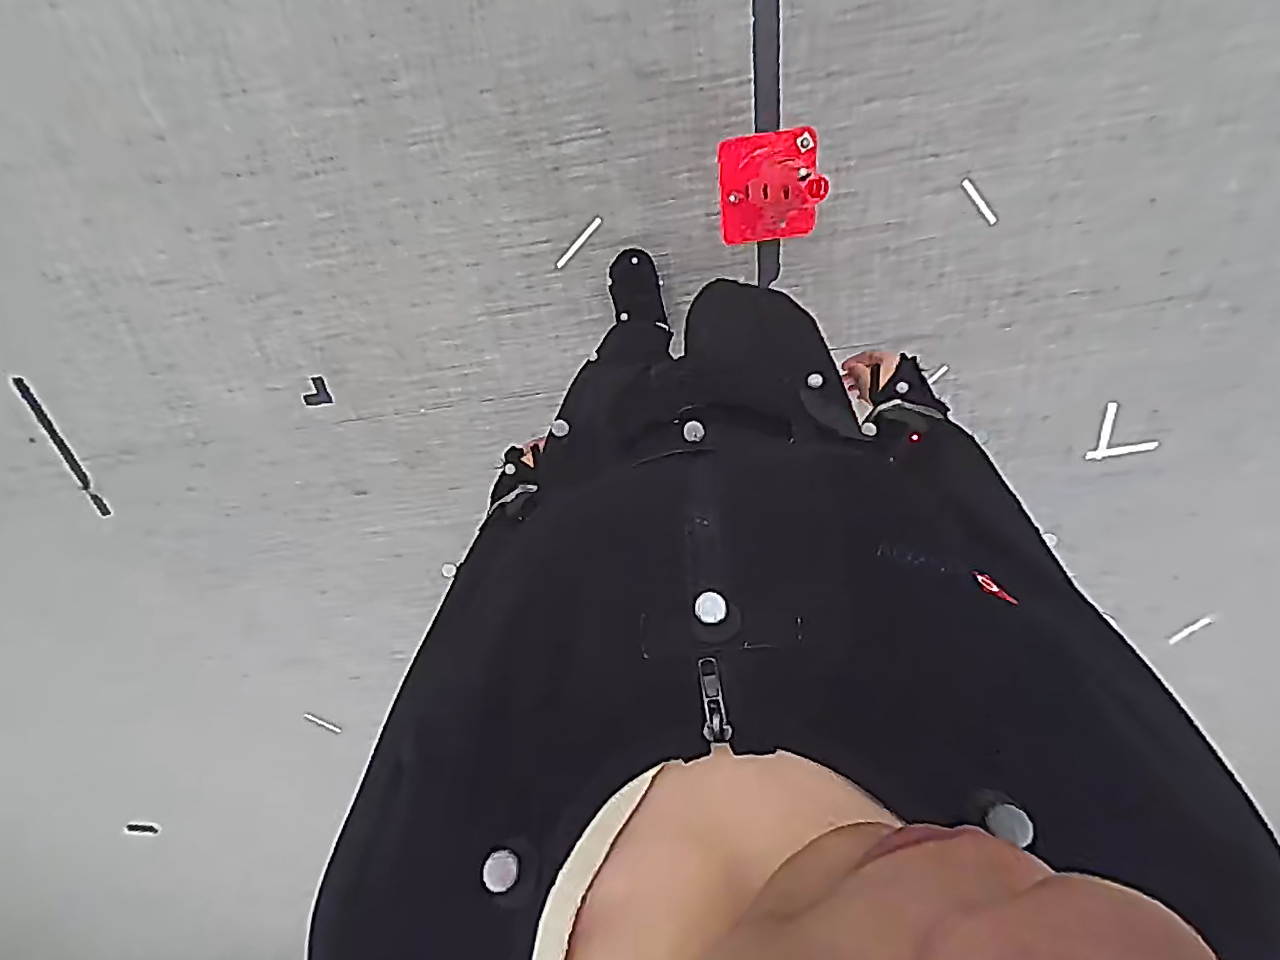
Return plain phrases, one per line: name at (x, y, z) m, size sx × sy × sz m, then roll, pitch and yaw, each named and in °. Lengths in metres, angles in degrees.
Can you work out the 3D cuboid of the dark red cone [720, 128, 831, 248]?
dark red cone at (0.266, -0.512, 0.960) m, size 0.201 × 0.394 × 0.202 m, roll -7°, pitch 118°, yaw 5°
